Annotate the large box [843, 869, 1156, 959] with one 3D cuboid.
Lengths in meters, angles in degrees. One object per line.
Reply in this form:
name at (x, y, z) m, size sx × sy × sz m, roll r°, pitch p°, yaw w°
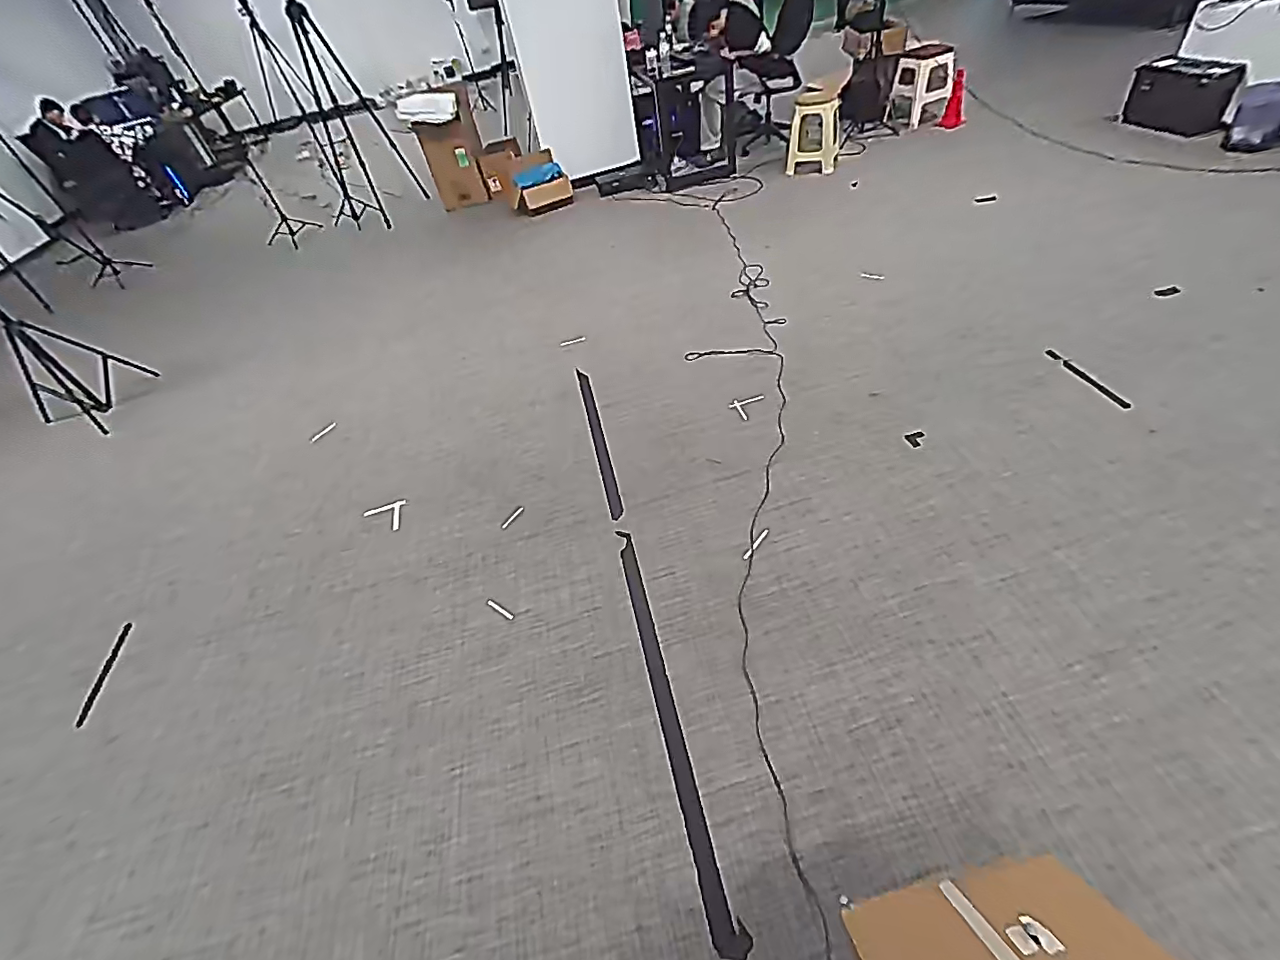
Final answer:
large box at (0.474, 0.721, 0.574) m, size 0.320 × 0.408 × 0.320 m, roll -14°, pitch 81°, yaw 0°
